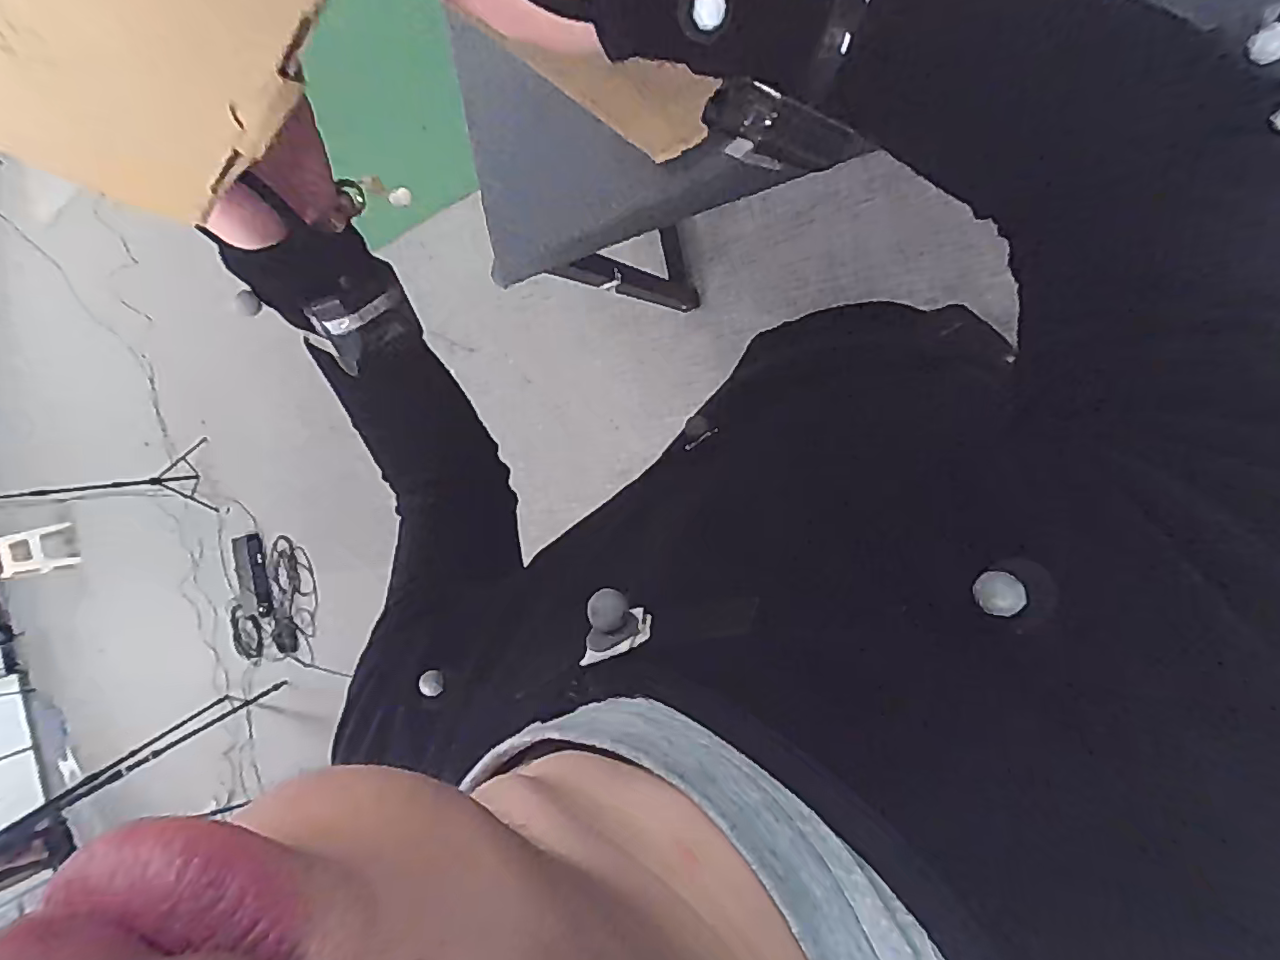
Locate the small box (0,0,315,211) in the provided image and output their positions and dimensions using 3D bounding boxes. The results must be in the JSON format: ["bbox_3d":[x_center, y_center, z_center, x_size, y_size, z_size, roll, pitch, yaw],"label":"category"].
[{"bbox_3d":[-0.189,-0.223,0.143,0.168,0.179,0.176,-14,70,39],"label":"small box"}]
